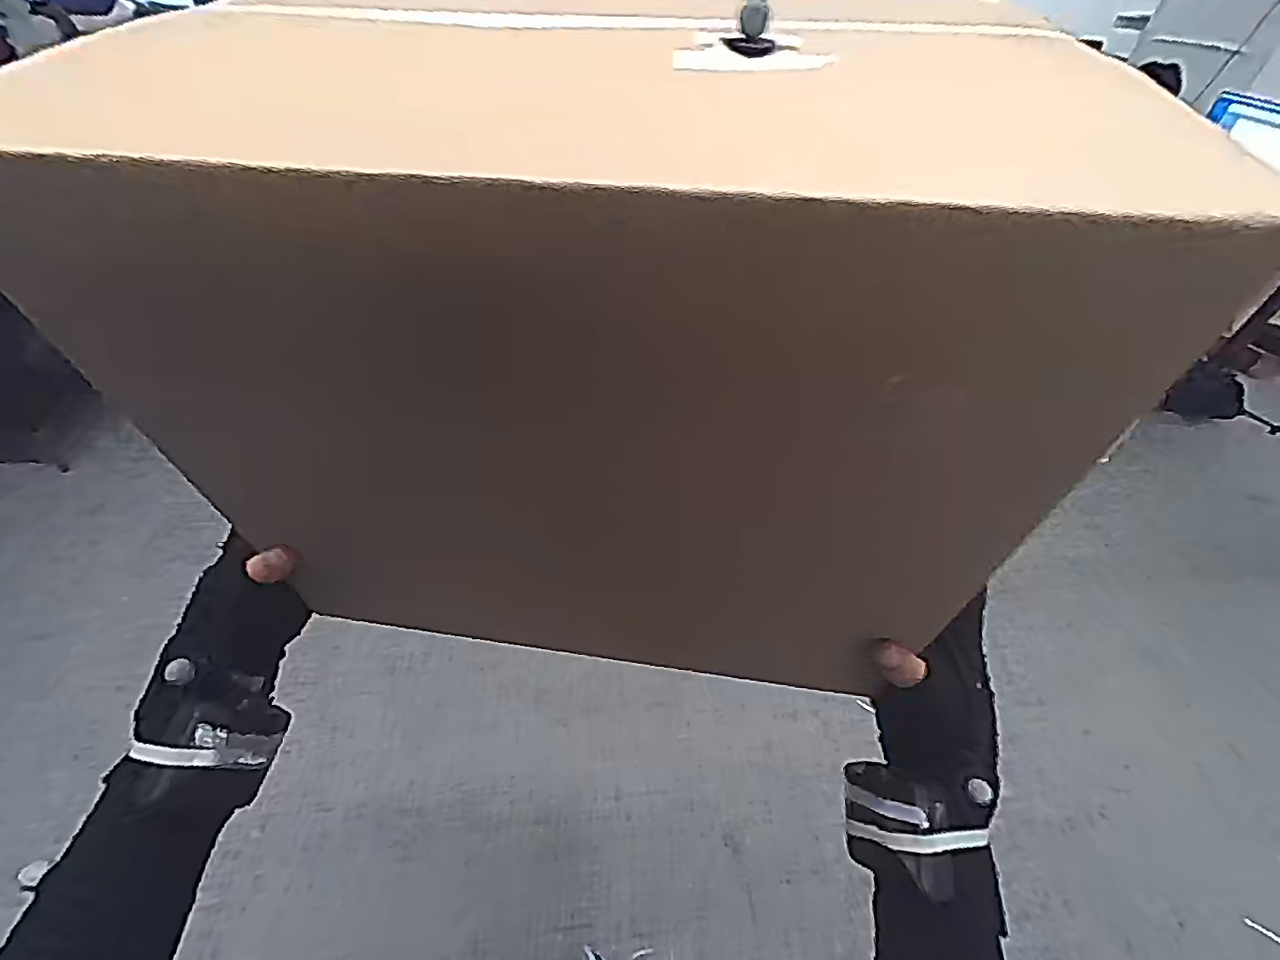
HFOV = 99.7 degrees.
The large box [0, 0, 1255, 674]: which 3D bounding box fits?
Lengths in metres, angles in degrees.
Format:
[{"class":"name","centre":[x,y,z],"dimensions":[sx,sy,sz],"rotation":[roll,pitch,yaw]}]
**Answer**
[{"class":"large box","centre":[-0.012,-0.096,0.369],"dimensions":[0.408,0.320,0.320],"rotation":[7,50,4]}]
